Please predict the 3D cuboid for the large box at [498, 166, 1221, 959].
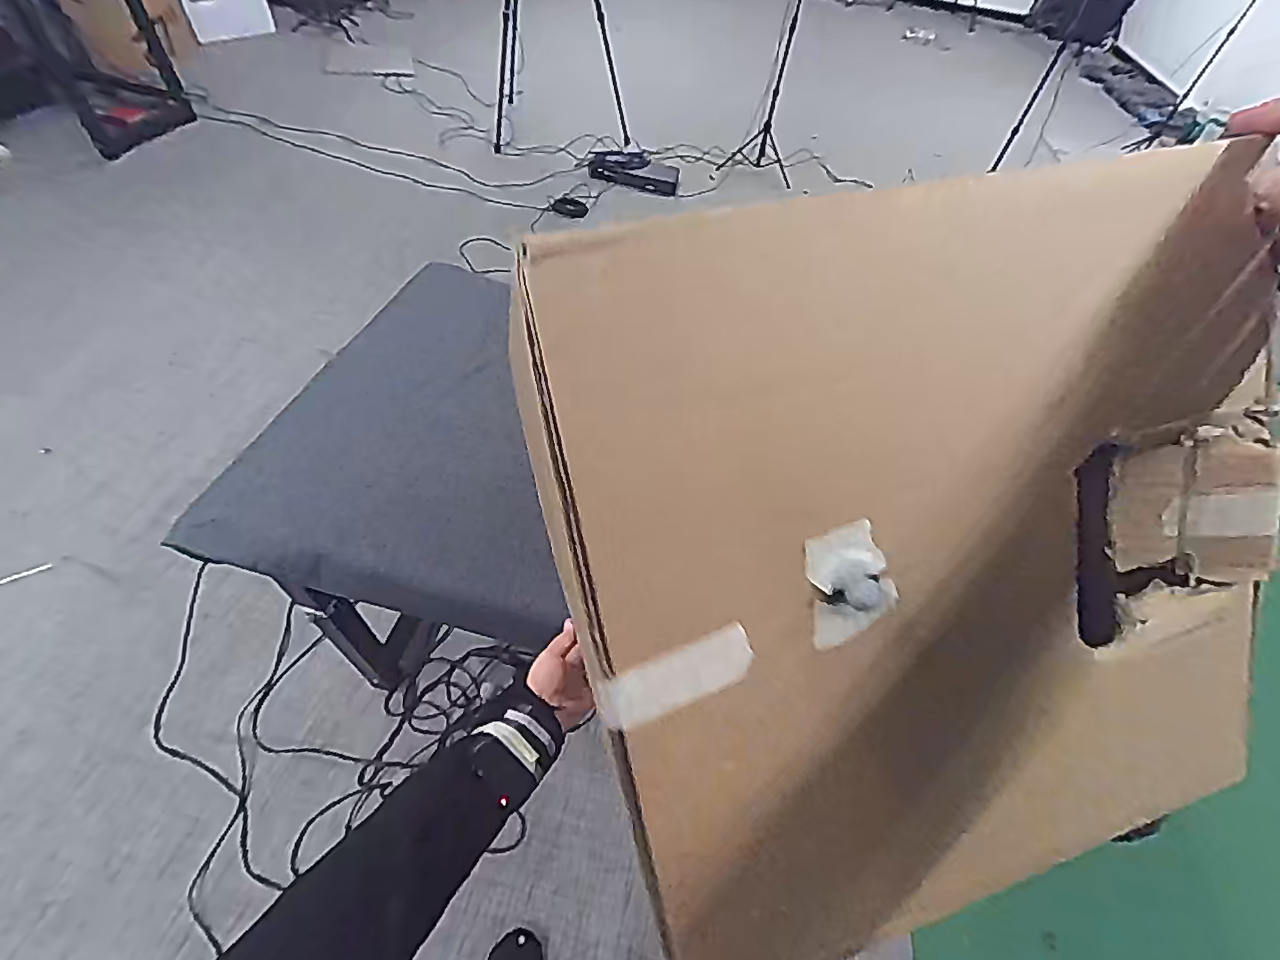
[{"bbox_3d":[0.087,0.012,0.417,0.320,0.320,0.408,-15,13,-13],"label":"large box"}]
